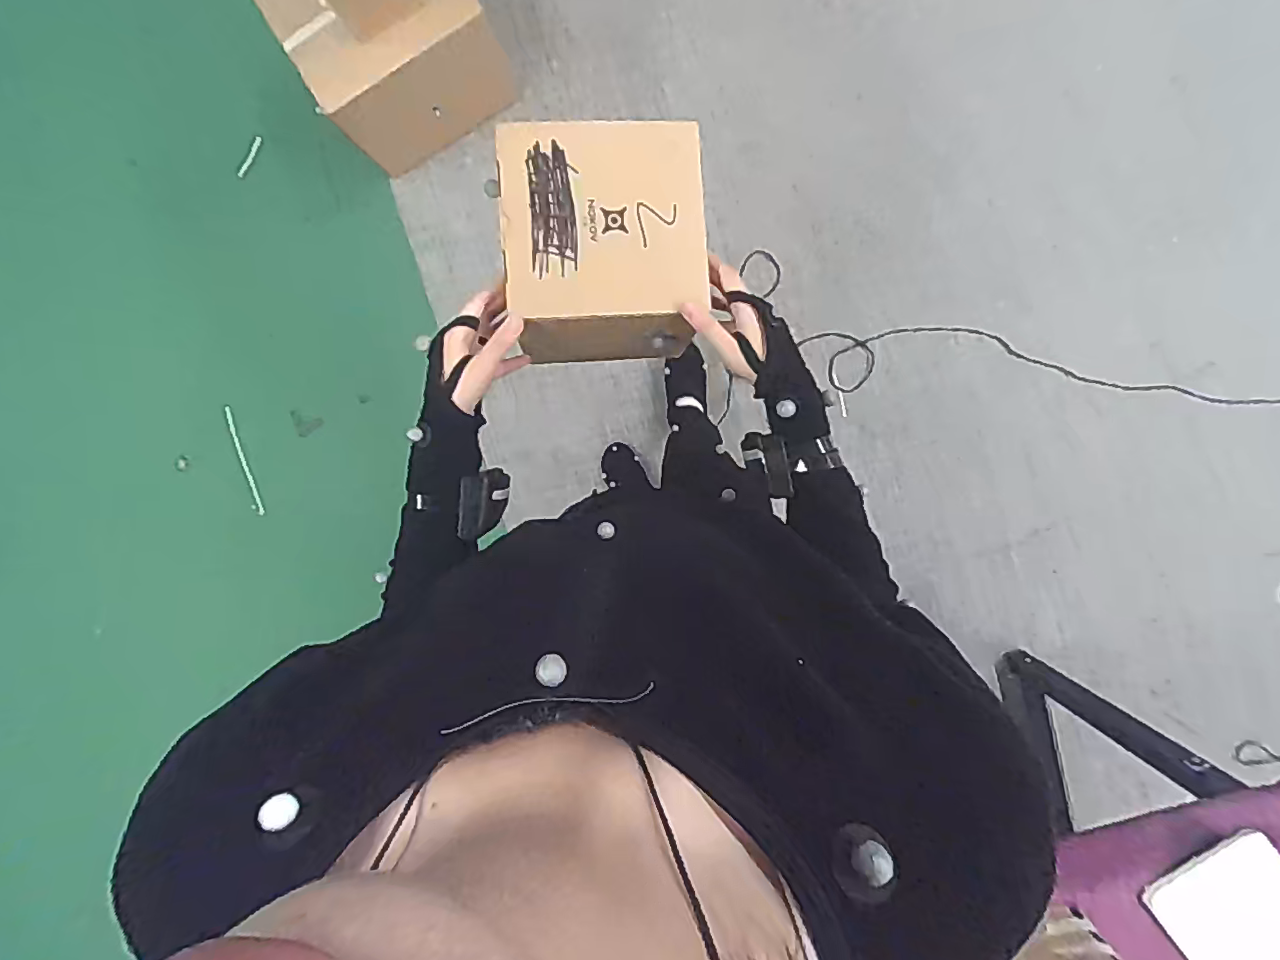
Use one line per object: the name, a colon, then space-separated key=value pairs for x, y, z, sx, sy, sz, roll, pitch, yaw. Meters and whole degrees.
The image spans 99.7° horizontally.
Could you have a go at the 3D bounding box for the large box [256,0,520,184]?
large box: x=-0.561 y=-1.004 z=1.281 sx=0.408 sy=0.320 sz=0.320 roll=-31 pitch=93 yaw=5

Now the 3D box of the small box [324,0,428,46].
small box: x=-0.544 y=-0.996 z=1.035 sx=0.179 sy=0.176 sz=0.168 roll=-27 pitch=95 yaw=3
